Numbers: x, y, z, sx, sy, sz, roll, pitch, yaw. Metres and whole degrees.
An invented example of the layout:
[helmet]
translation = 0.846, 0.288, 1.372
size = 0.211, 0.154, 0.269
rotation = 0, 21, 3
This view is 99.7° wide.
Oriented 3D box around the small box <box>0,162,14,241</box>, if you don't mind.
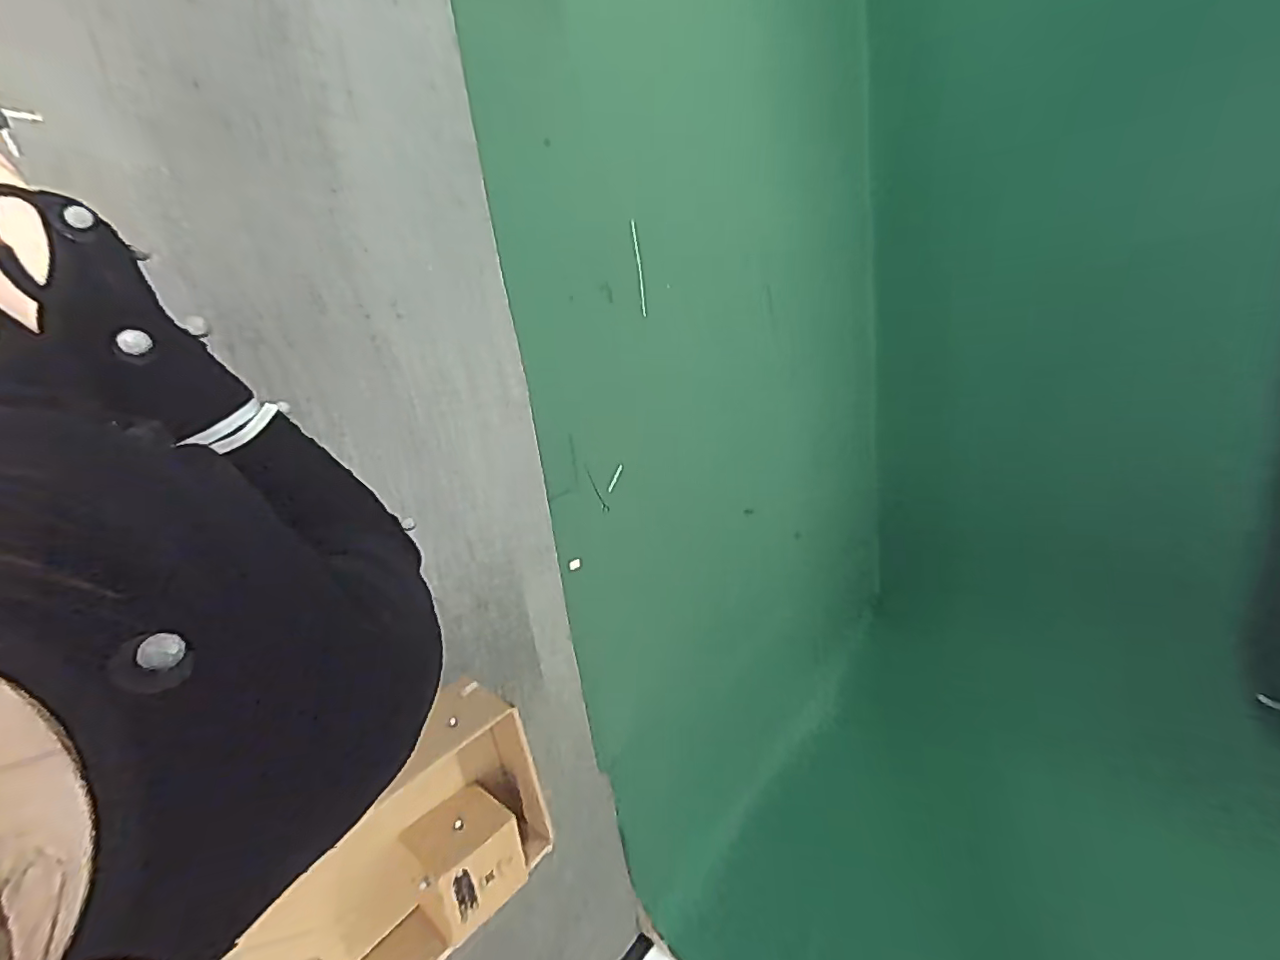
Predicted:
[small box]
translation = -0.505, -0.245, 0.308
size = 0.168, 0.176, 0.179
rotation = -14, 108, -44
